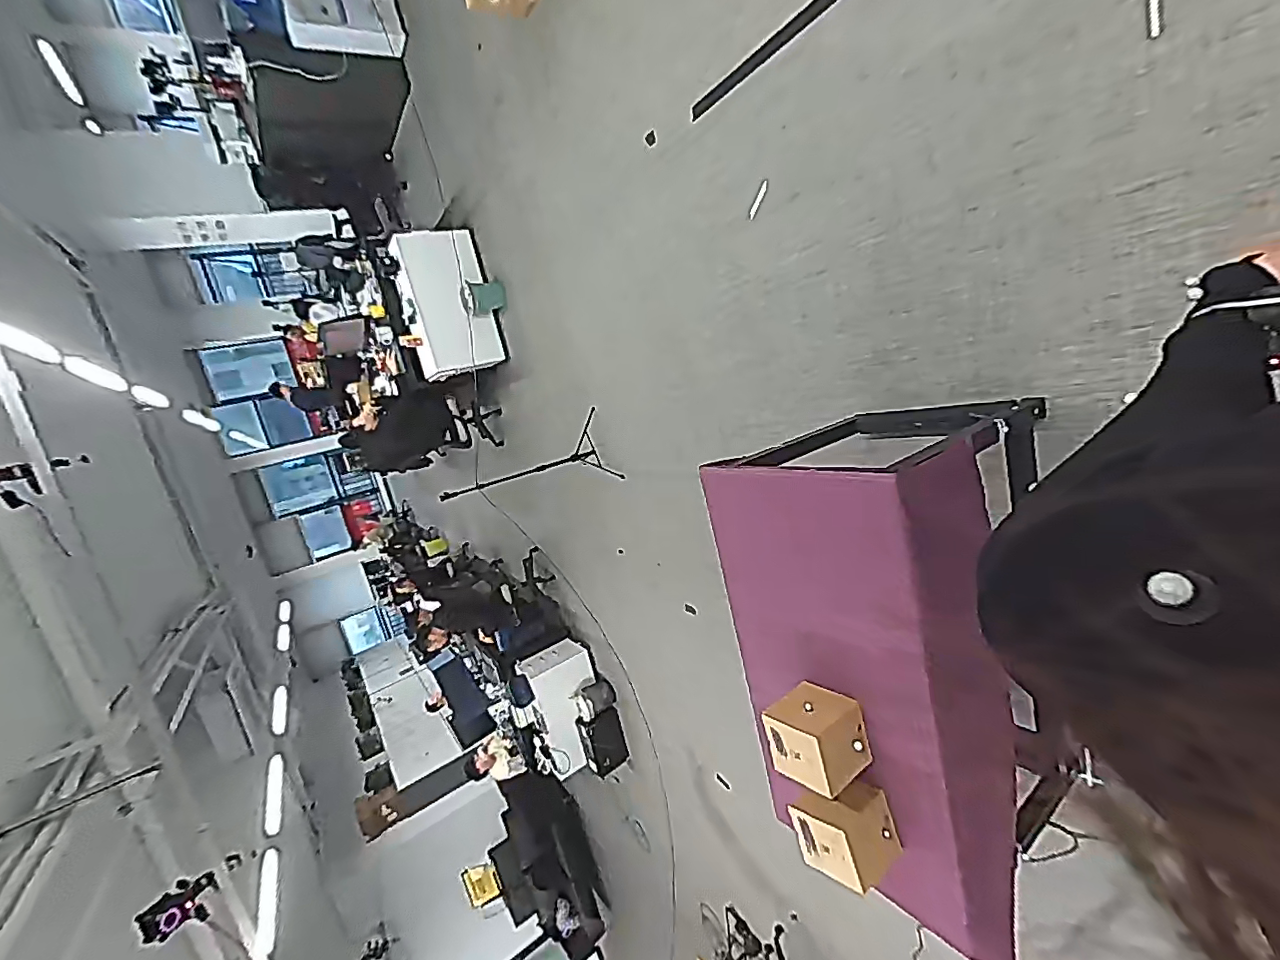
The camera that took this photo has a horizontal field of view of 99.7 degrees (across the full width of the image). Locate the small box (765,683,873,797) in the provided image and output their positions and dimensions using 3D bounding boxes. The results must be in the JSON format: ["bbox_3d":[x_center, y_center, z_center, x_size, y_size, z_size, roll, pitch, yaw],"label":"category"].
[{"bbox_3d":[0.446,0.636,1.351,0.179,0.176,0.168,-3,105,57],"label":"small box"}]
